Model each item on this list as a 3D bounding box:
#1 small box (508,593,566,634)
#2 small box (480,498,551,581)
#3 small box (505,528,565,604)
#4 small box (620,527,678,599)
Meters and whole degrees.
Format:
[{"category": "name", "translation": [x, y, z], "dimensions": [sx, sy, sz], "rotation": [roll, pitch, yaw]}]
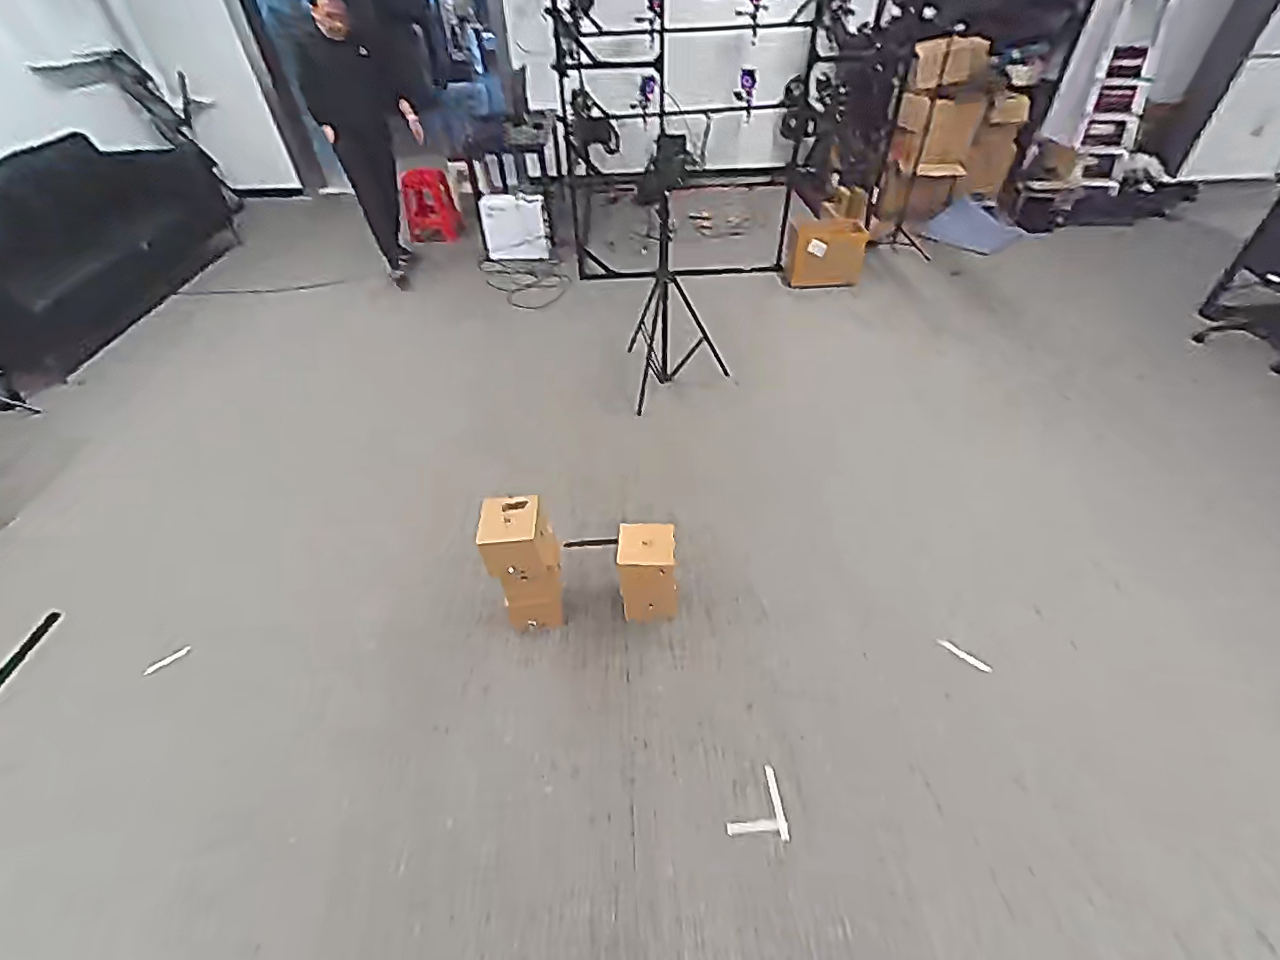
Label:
[{"category": "small box", "translation": [-0.346, 0.401, 1.843], "dimensions": [0.168, 0.176, 0.179], "rotation": [-6, 44, -2]}, {"category": "small box", "translation": [-0.360, 0.177, 1.602], "dimensions": [0.168, 0.176, 0.179], "rotation": [-5, 44, 0]}, {"category": "small box", "translation": [-0.339, 0.279, 1.733], "dimensions": [0.179, 0.176, 0.168], "rotation": [-7, 43, -3]}, {"category": "small box", "translation": [0.034, 0.266, 1.728], "dimensions": [0.179, 0.176, 0.168], "rotation": [1, 44, 3]}]
